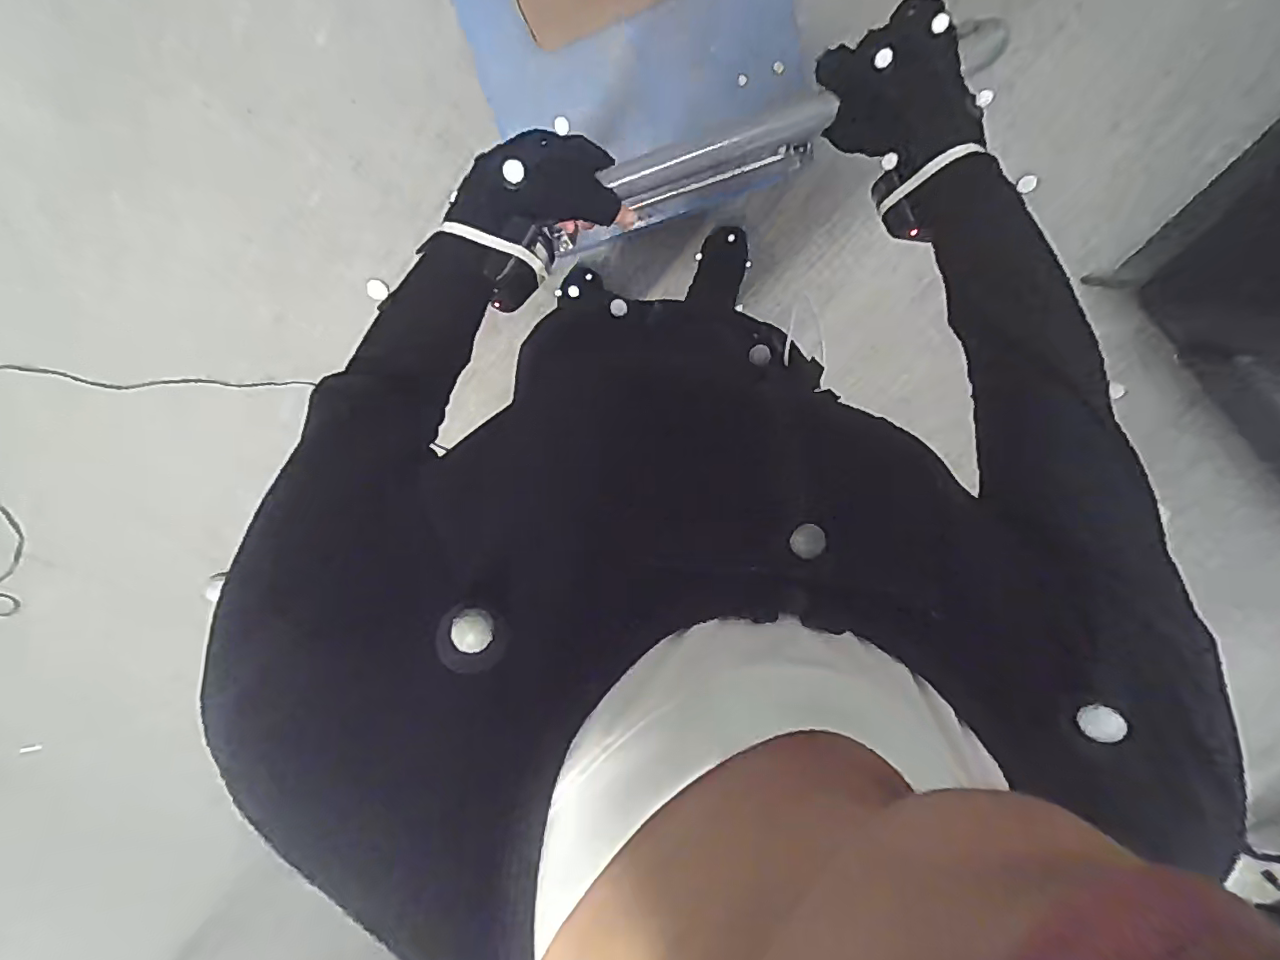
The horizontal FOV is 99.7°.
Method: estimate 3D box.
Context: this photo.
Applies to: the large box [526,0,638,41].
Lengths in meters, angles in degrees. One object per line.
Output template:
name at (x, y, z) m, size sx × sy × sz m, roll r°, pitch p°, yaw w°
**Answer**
large box at (-0.031, -0.918, 0.763) m, size 0.408 × 0.320 × 0.320 m, roll -19°, pitch 115°, yaw 8°
